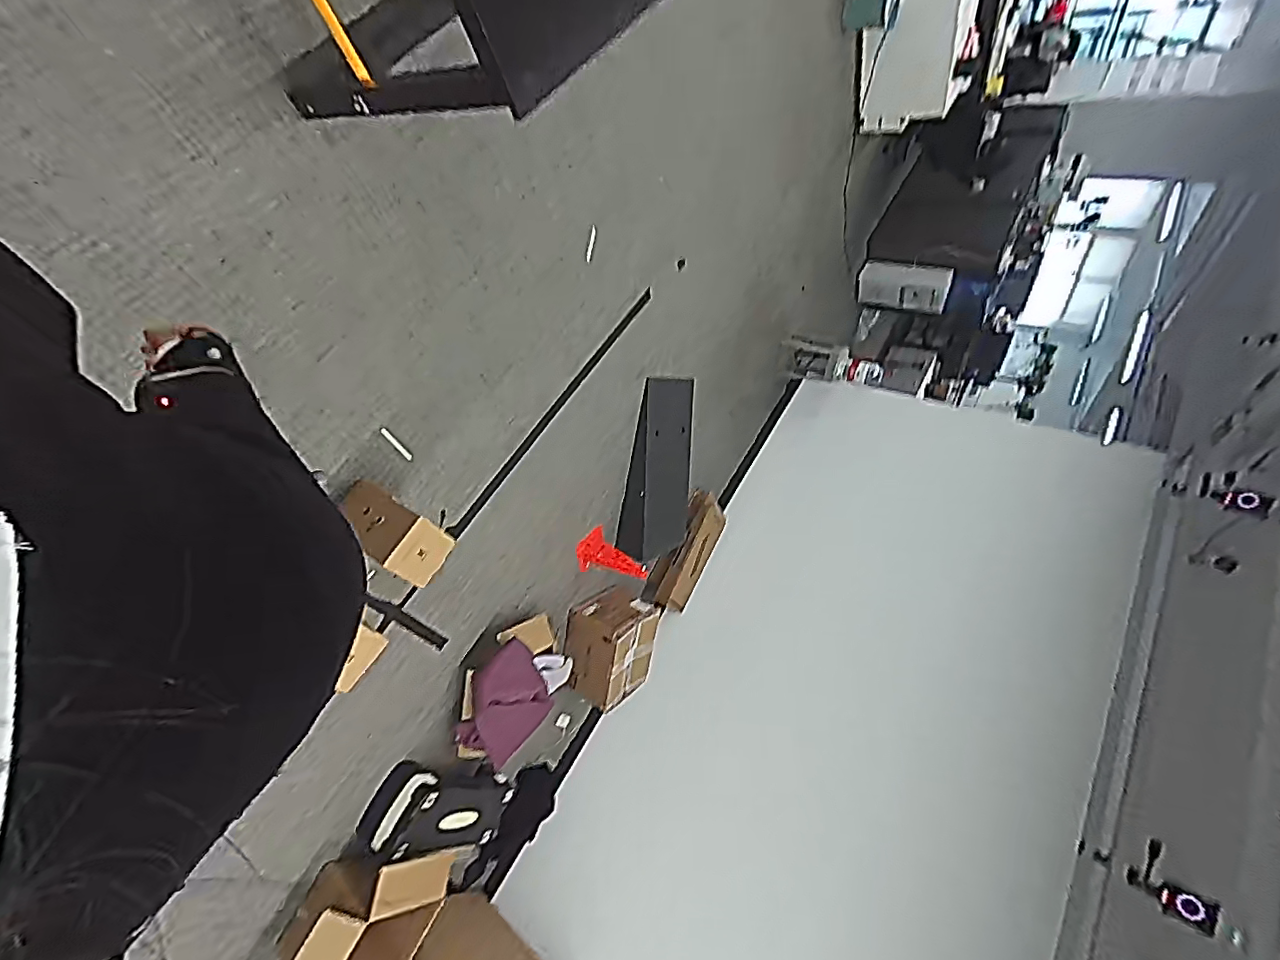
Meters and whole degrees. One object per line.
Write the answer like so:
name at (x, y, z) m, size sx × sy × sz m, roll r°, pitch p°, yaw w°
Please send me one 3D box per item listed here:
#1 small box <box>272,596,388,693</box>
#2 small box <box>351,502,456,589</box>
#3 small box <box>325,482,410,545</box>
small box at (-0.834, 0.440, 1.460) m, size 0.168 × 0.176 × 0.179 m, roll -54°, pitch 146°, yaw -23°
small box at (-0.678, 0.184, 1.552) m, size 0.168 × 0.176 × 0.179 m, roll -59°, pitch 147°, yaw -19°
small box at (-0.805, 0.132, 1.638) m, size 0.179 × 0.176 × 0.168 m, roll -56°, pitch 147°, yaw -20°
